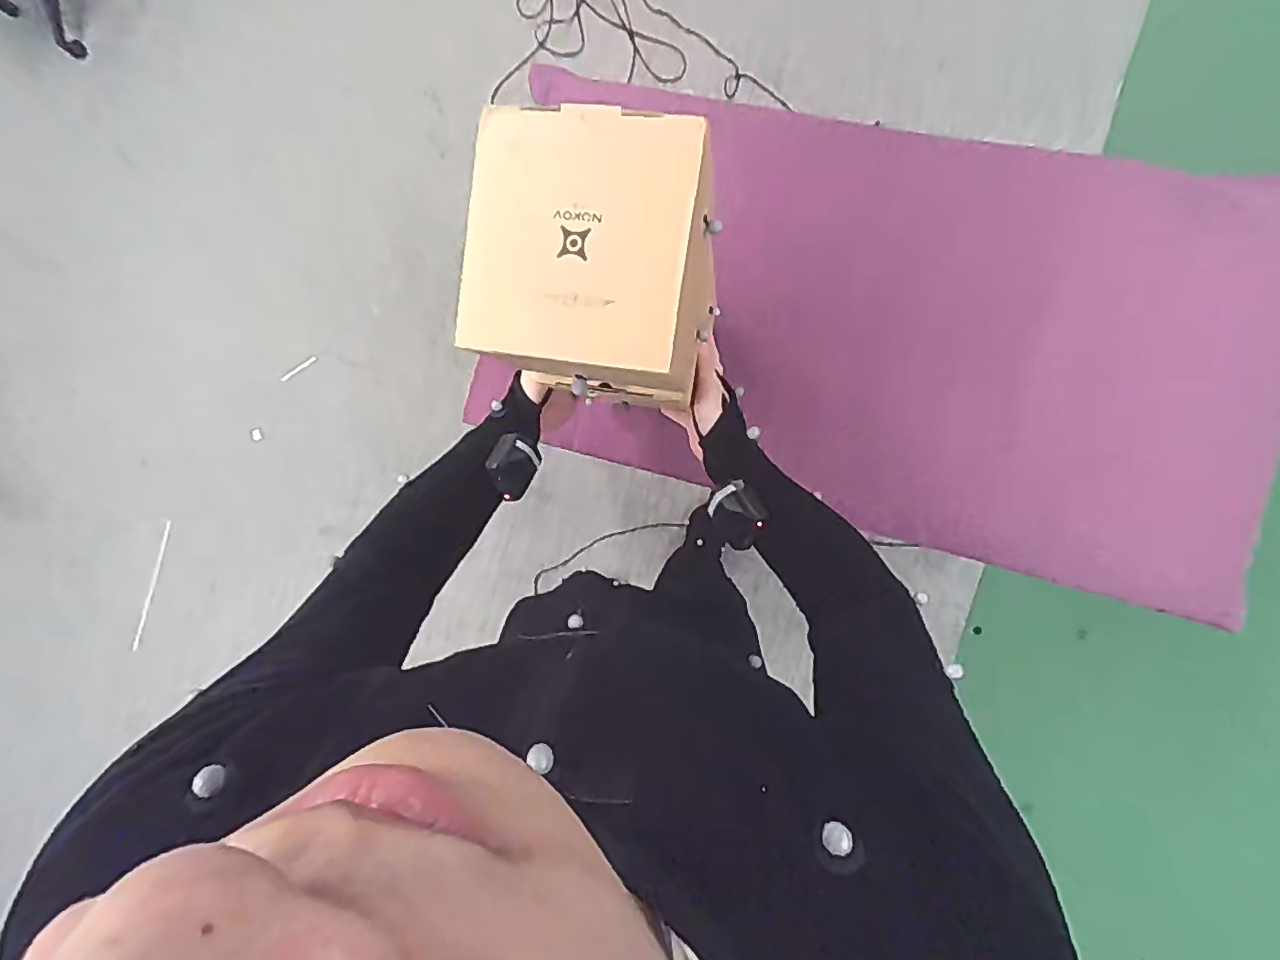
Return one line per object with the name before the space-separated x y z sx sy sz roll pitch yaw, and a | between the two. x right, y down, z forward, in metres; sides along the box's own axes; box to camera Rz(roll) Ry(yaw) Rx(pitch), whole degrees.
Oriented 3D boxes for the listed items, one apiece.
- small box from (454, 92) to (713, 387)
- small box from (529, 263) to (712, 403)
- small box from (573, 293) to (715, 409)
small box | -0.033 -0.183 0.459 0.168 0.176 0.179 10 97 9
small box | -0.011 -0.187 0.620 0.168 0.176 0.179 9 95 8
small box | 0.014 -0.200 0.782 0.168 0.176 0.179 9 96 9
